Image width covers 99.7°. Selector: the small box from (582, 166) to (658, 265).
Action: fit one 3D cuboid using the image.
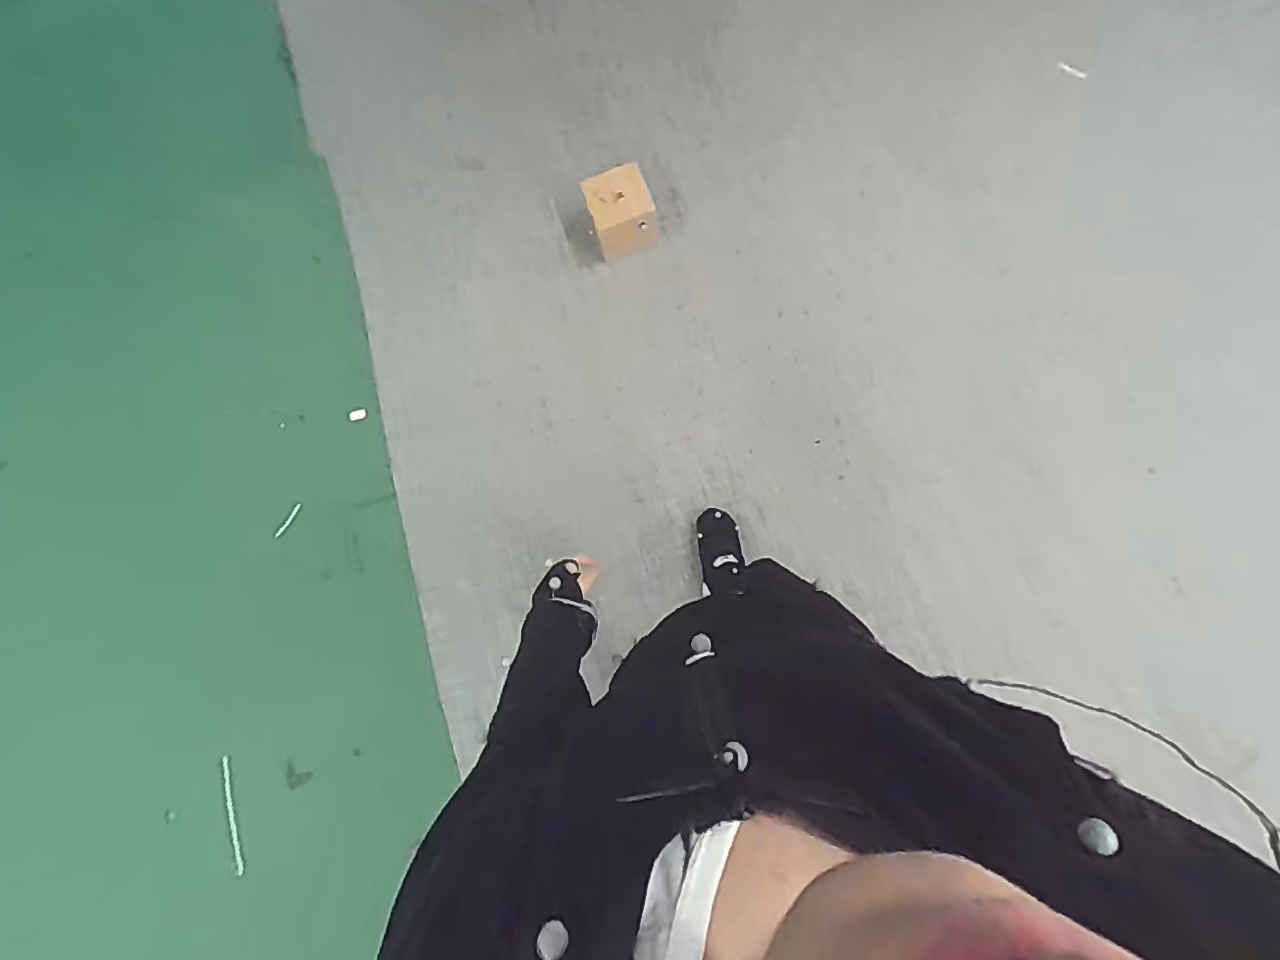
[{"bbox_3d":[-0.052,-0.769,1.585,0.179,0.176,0.168,-20,80,2],"label":"small box"}]
